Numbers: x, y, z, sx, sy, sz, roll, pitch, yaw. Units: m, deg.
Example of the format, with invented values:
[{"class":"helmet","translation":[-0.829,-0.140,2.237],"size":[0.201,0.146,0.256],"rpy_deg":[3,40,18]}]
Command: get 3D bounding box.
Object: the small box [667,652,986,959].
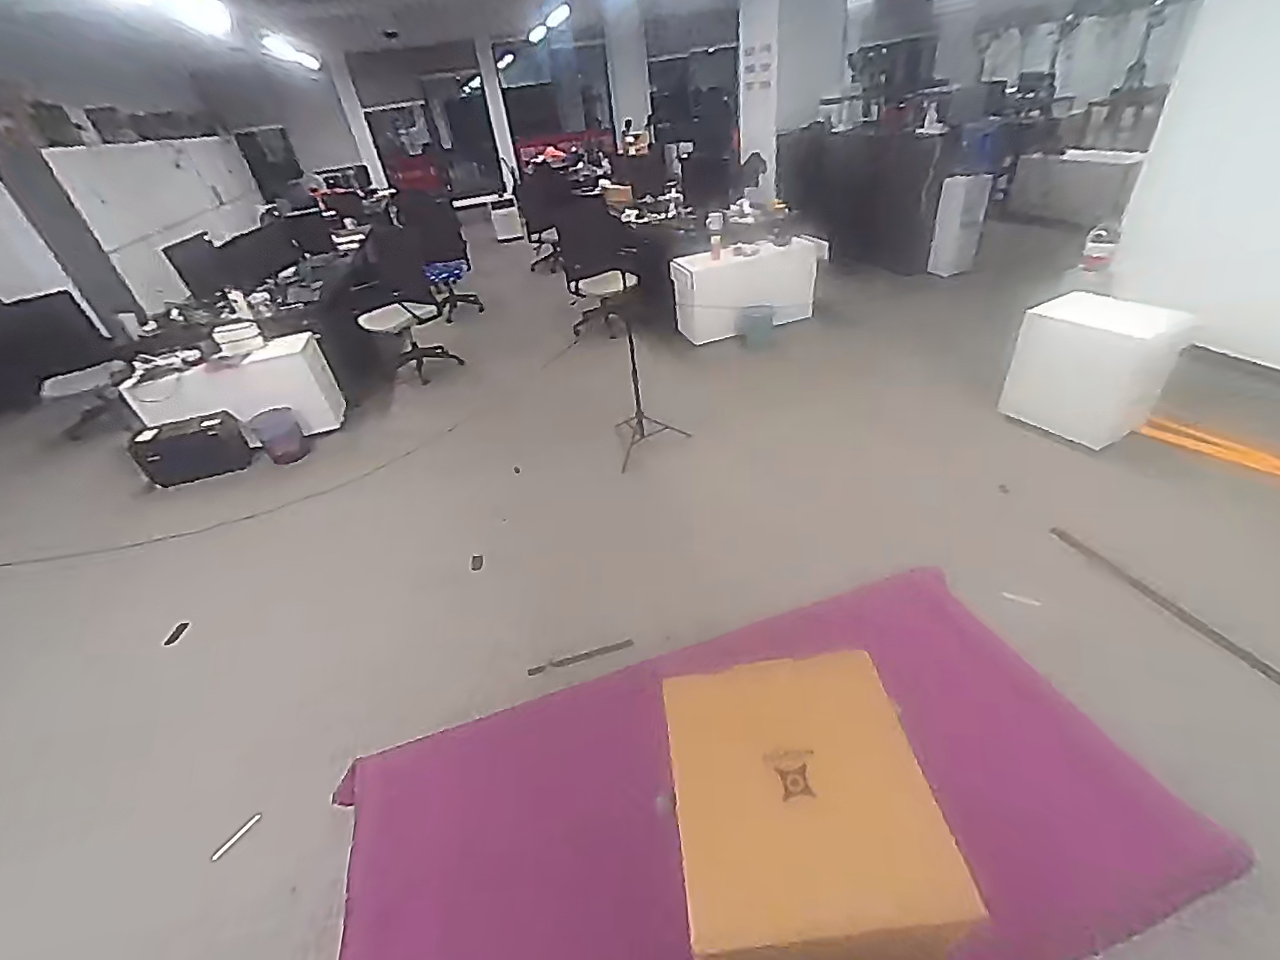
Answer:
[{"class":"small box","translation":[0.120,0.263,0.410],"size":[0.168,0.176,0.179],"rpy_deg":[-10,36,3]}]
